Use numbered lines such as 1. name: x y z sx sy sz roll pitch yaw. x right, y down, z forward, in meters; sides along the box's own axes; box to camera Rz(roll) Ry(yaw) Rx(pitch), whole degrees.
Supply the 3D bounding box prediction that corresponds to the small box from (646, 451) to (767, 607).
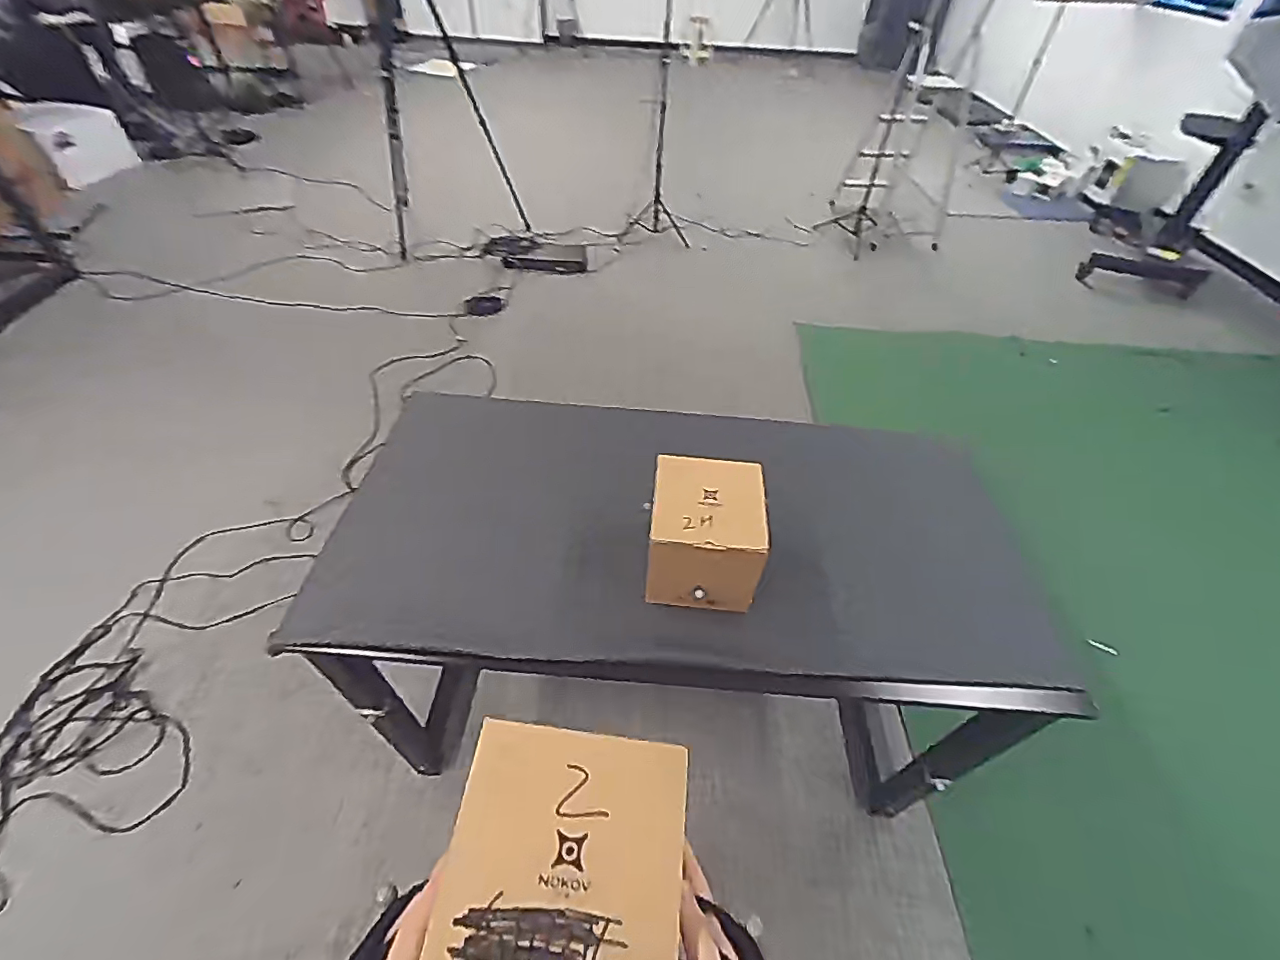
1. small box: 0.098 0.078 0.863 0.168 0.176 0.179 4 47 2
